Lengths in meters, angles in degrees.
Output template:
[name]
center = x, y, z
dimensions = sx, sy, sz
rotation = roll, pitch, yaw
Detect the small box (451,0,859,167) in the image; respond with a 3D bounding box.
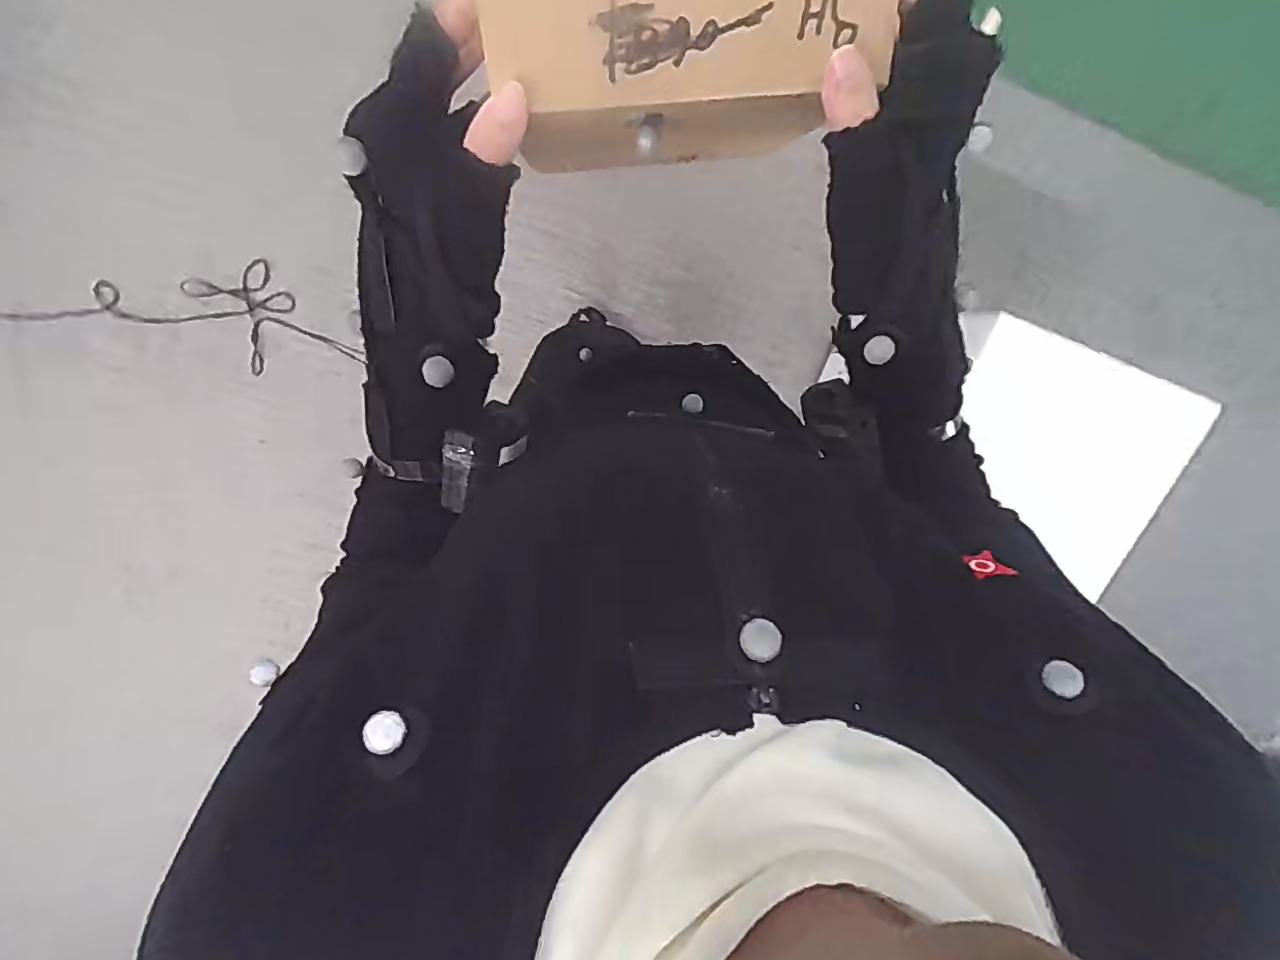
[small box]
center = -0.003, -0.271, 0.267
dimensions = 0.168, 0.176, 0.179
rotation = -5, 113, -3
